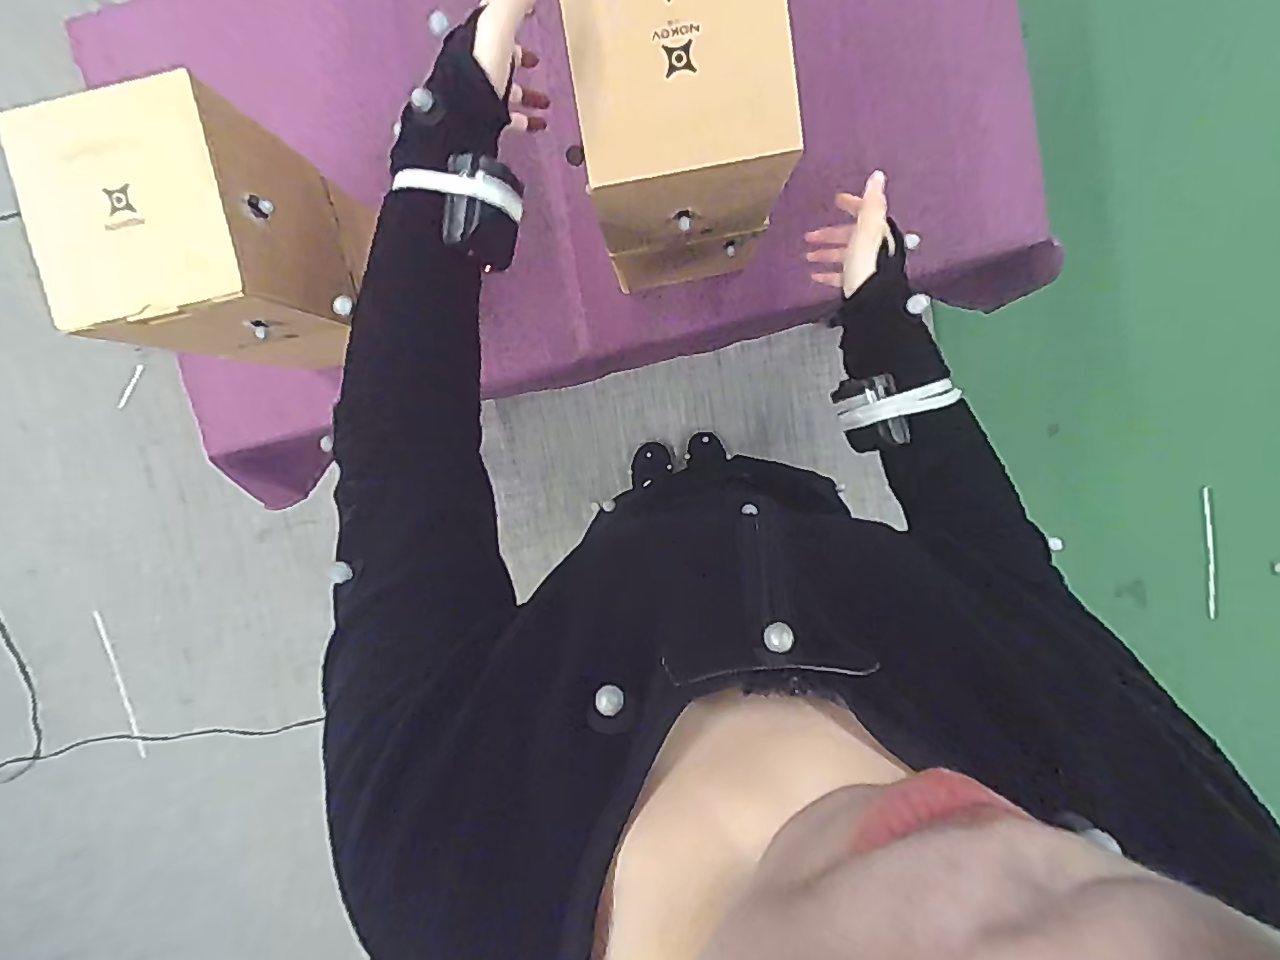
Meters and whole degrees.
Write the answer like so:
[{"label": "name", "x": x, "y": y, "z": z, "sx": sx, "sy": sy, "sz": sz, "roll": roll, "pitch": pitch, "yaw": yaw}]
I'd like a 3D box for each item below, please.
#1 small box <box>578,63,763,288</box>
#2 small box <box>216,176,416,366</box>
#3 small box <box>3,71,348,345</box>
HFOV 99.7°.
[{"label": "small box", "x": 0.037, "y": -0.342, "z": 0.646, "sx": 0.179, "sy": 0.176, "sz": 0.168, "roll": -10, "pitch": 96, "yaw": 4}, {"label": "small box", "x": -0.404, "y": -0.245, "z": 0.677, "sx": 0.179, "sy": 0.176, "sz": 0.168, "roll": -11, "pitch": 95, "yaw": 4}, {"label": "small box", "x": -0.412, "y": -0.232, "z": 0.515, "sx": 0.168, "sy": 0.176, "sz": 0.179, "roll": -9, "pitch": 95, "yaw": 4}]
